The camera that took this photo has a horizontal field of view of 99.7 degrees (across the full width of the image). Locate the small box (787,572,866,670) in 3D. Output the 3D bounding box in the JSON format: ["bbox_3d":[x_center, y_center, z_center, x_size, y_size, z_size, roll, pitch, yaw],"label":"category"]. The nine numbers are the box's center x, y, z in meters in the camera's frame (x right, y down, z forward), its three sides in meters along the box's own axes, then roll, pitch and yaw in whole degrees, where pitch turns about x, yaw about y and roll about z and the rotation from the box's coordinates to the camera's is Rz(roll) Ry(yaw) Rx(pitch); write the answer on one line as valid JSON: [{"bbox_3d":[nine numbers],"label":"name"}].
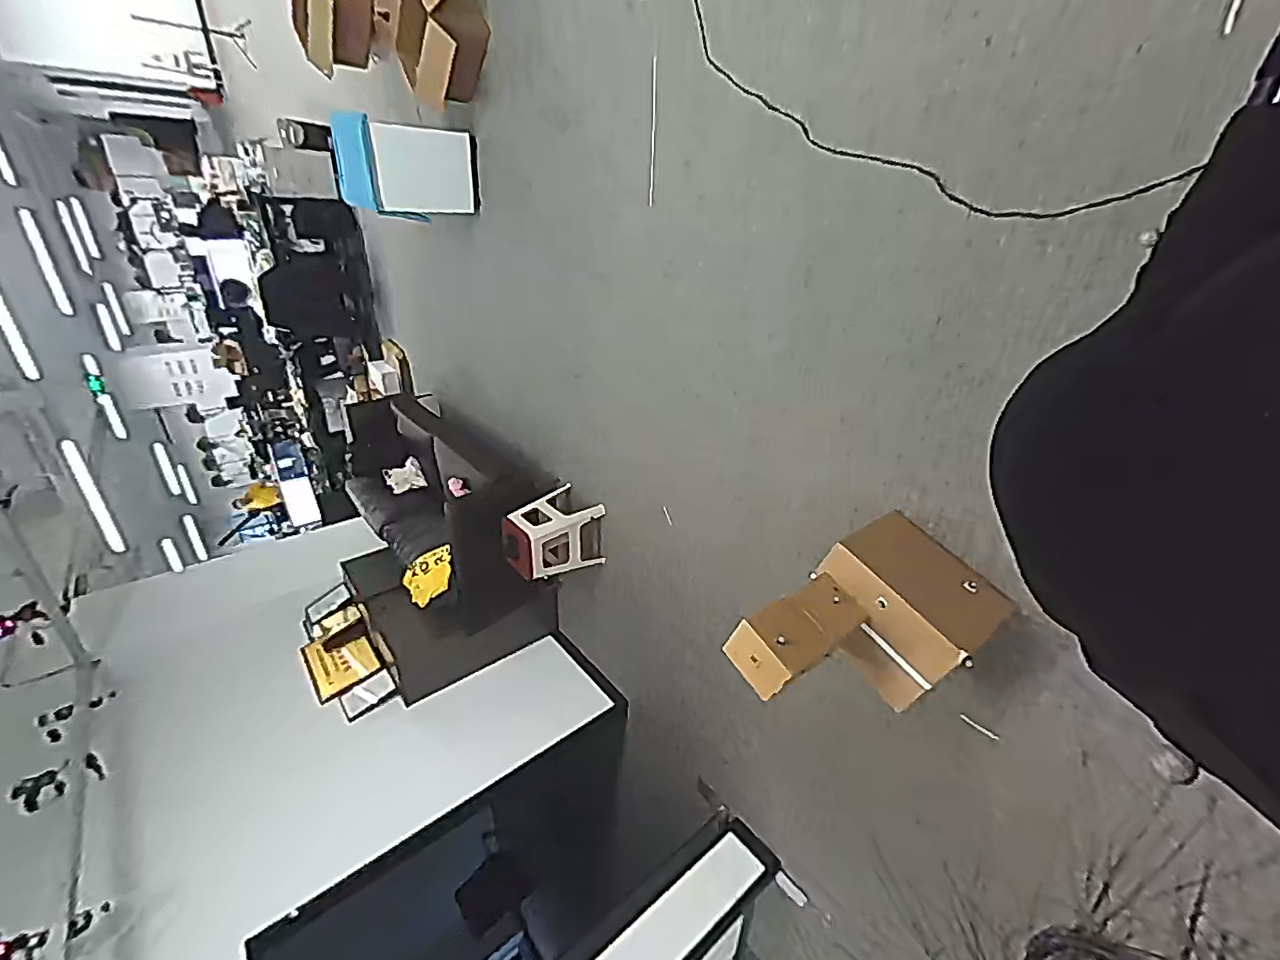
[{"bbox_3d":[0.492,0.390,1.507,0.168,0.176,0.179,48,140,29],"label":"small box"}]

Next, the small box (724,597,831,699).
[{"bbox_3d":[0.360,0.430,1.420,0.179,0.176,0.168,48,141,28],"label":"small box"}]
